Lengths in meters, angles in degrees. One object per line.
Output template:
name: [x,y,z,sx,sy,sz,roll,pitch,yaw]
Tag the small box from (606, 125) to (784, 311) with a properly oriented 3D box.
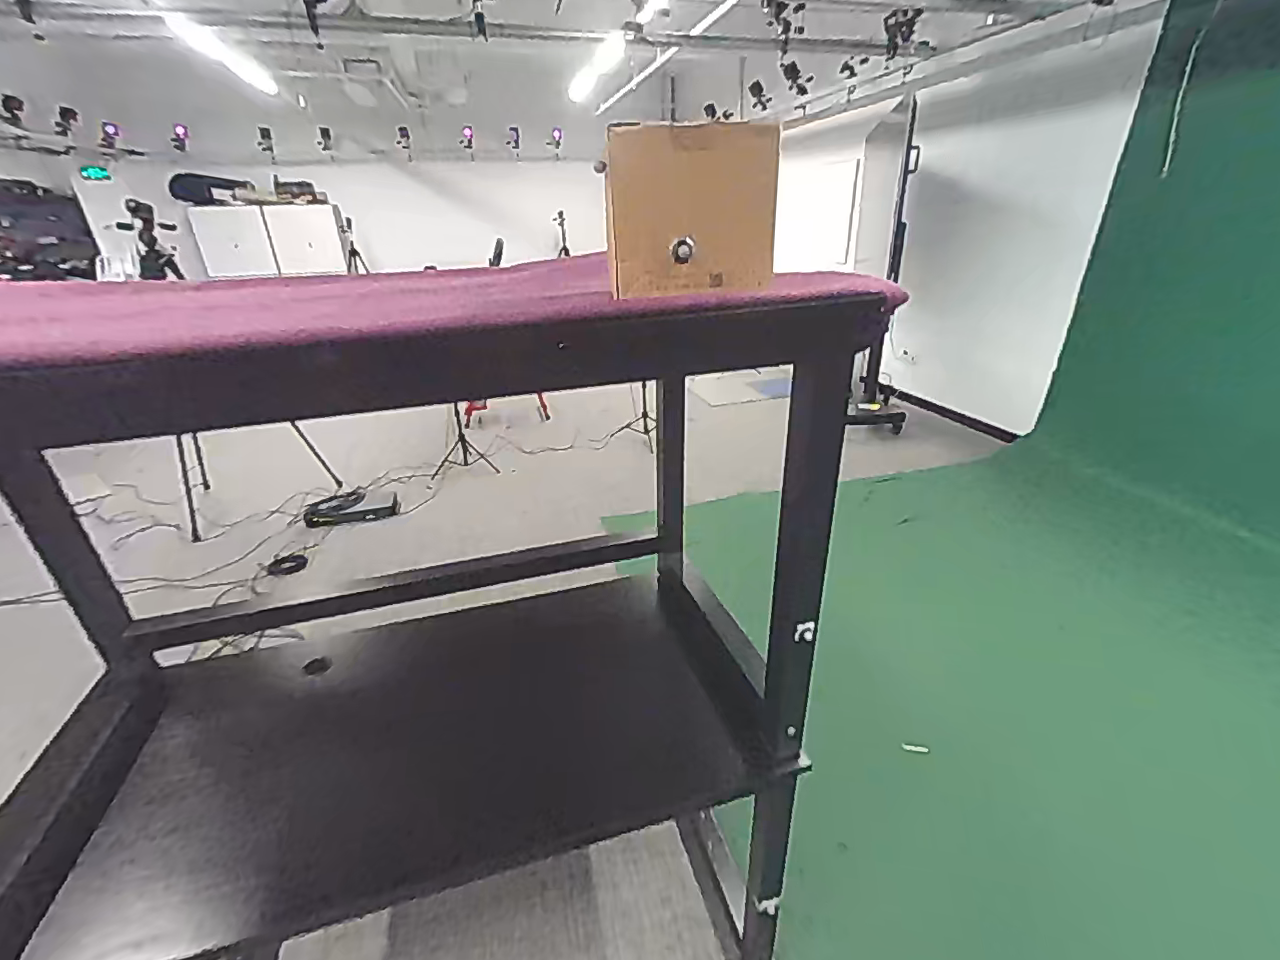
small box: [0.049,-0.289,0.609,0.168,0.176,0.179,-5,27,-4]
